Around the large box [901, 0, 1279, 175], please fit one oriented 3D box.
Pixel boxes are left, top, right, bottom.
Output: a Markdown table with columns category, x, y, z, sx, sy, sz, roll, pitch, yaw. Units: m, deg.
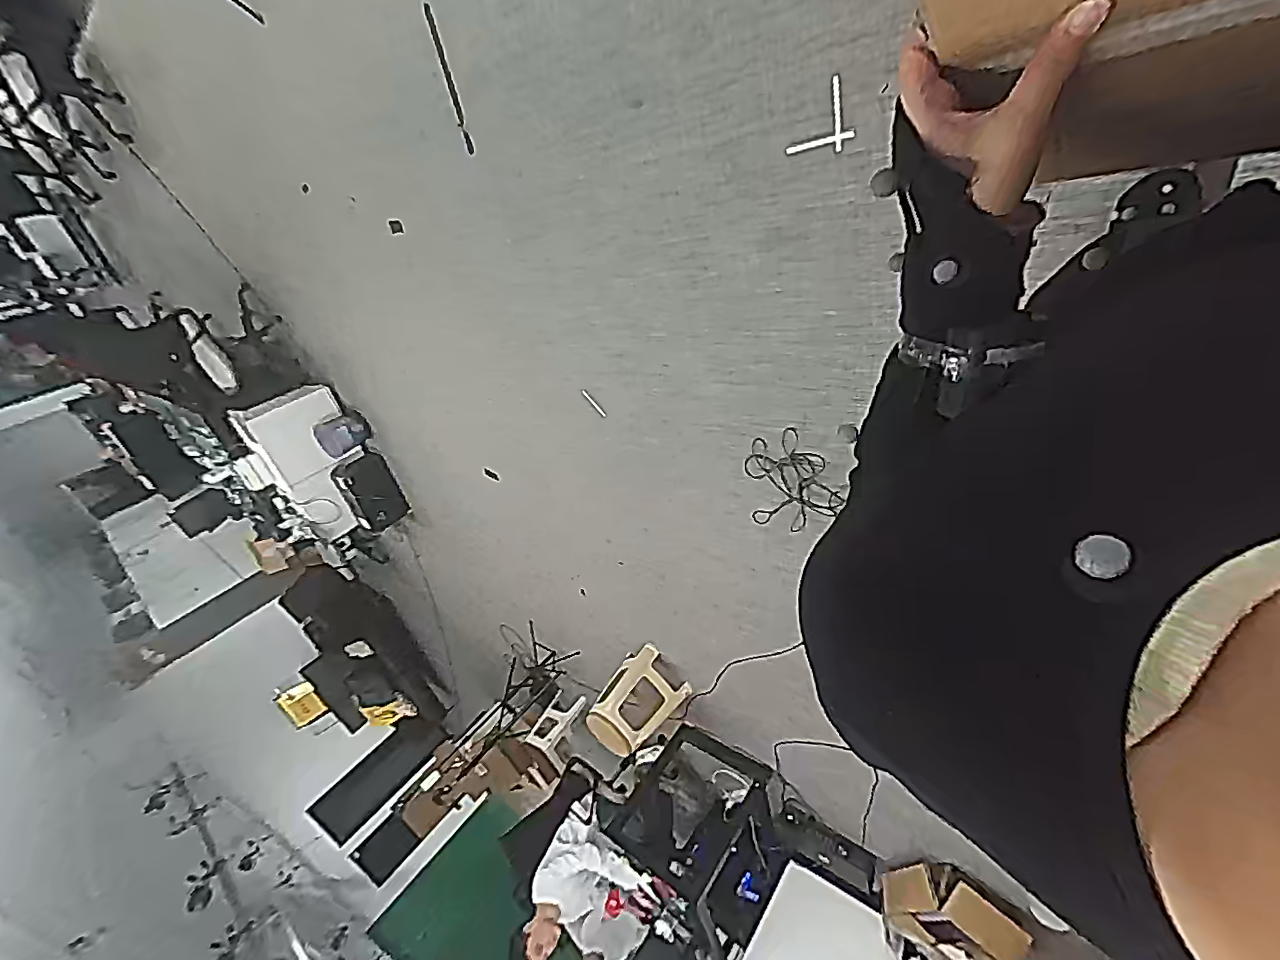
| category | x | y | z | sx | sy | sz | roll | pitch | yaw |
| --- | --- | --- | --- | --- | --- | --- | --- | --- | --- |
| large box | 0.319 | -0.349 | 0.153 | 0.408 | 0.320 | 0.320 | 11 | 100 | 40 |
